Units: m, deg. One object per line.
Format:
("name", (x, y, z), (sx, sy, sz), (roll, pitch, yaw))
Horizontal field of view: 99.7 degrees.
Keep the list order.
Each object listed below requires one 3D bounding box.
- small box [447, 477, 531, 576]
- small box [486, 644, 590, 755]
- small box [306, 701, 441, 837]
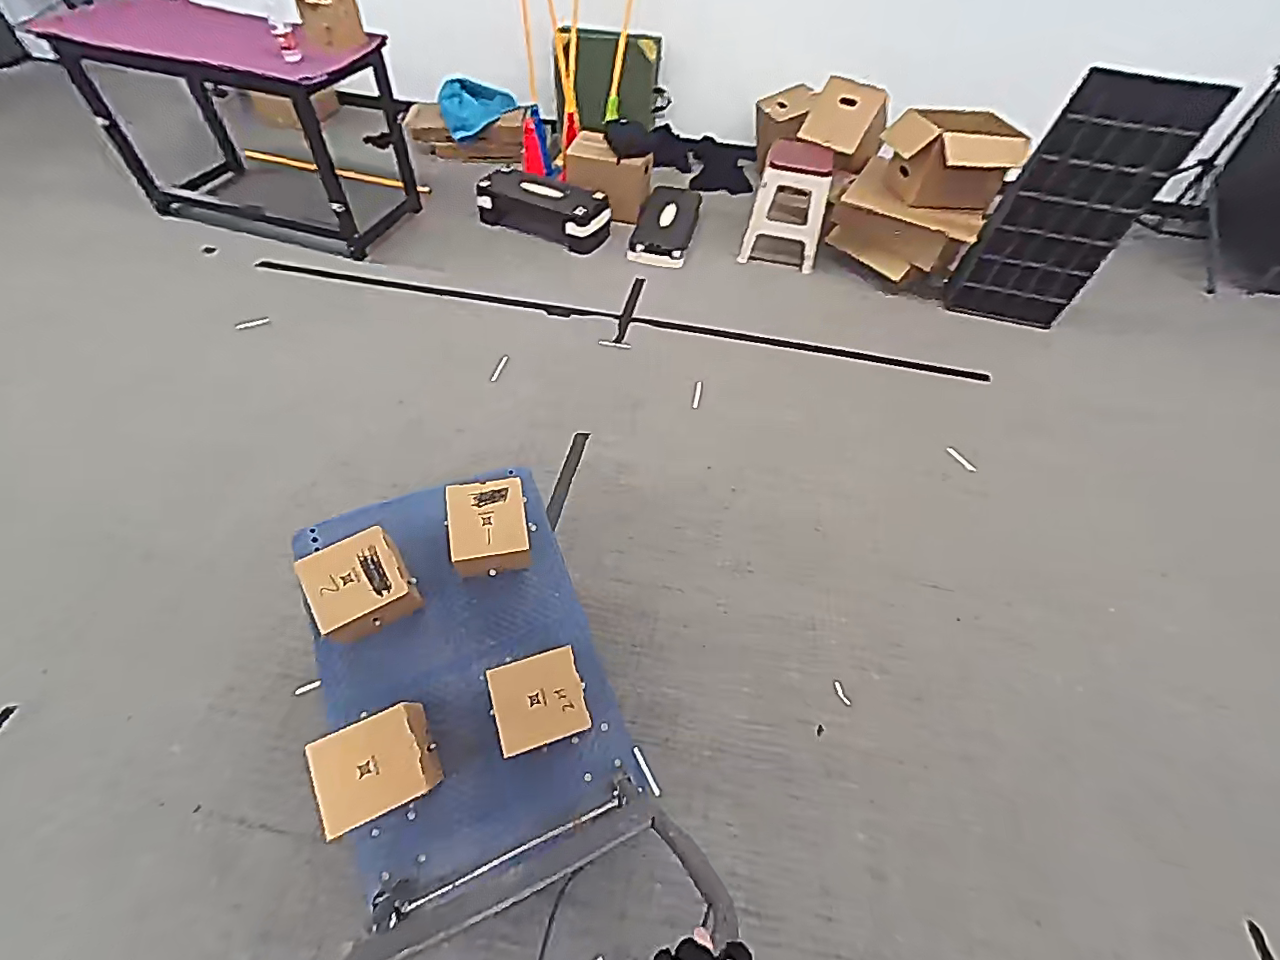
("small box", (-0.348, 0.111, 1.259), (0.168, 0.176, 0.179), (-7, 70, -13))
("small box", (-0.213, 0.459, 1.134), (0.179, 0.176, 0.168), (-13, 71, -16))
("small box", (-0.505, 0.547, 1.043), (0.179, 0.176, 0.168), (-20, 72, -19))
